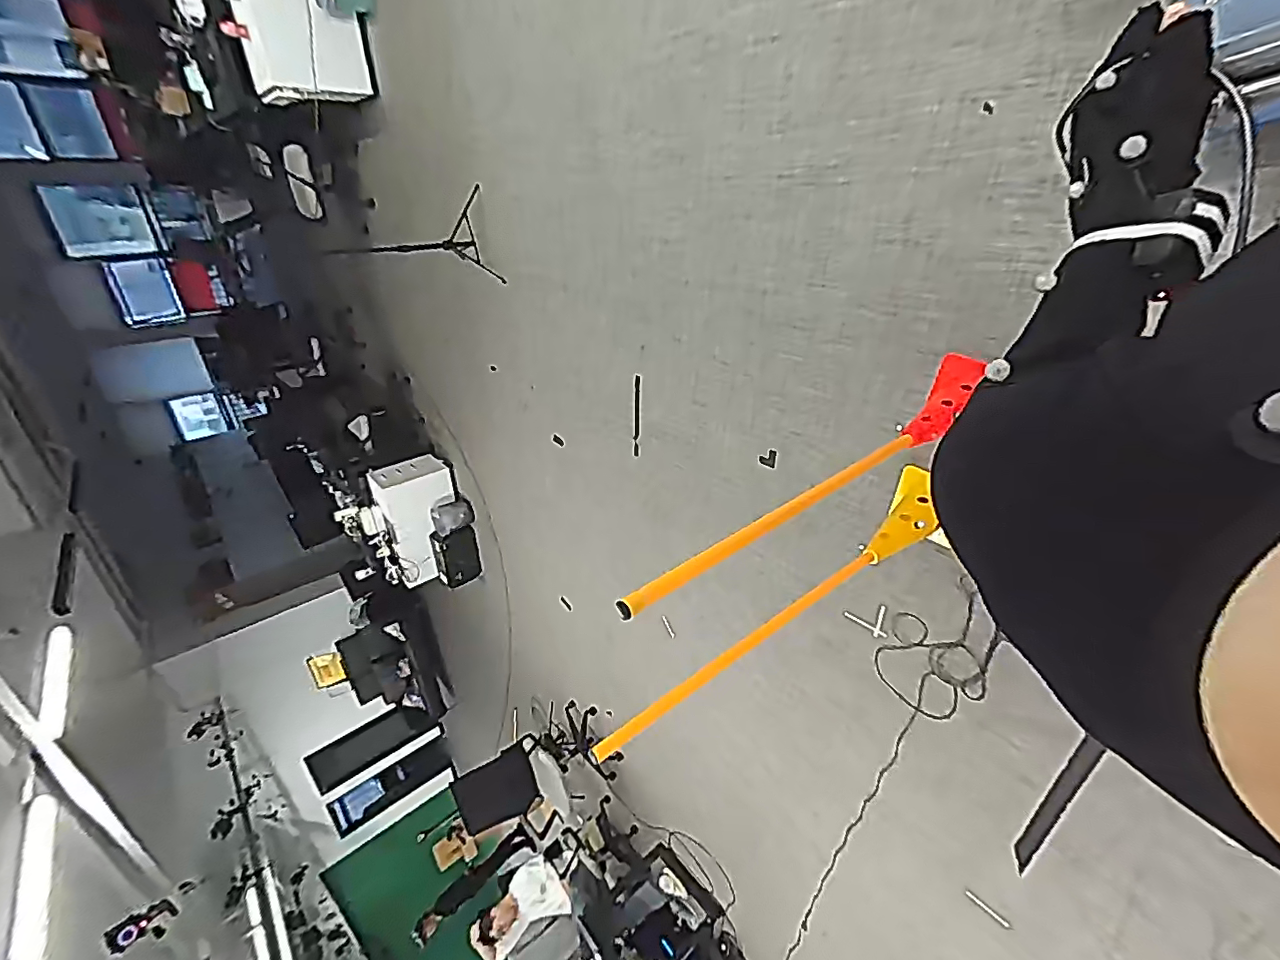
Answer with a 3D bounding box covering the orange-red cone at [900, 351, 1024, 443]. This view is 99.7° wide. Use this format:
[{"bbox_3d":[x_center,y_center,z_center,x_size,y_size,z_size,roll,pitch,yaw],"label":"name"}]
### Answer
[{"bbox_3d":[0.708,-0.156,1.272,0.198,0.360,0.199,35,133,35],"label":"orange-red cone"}]
